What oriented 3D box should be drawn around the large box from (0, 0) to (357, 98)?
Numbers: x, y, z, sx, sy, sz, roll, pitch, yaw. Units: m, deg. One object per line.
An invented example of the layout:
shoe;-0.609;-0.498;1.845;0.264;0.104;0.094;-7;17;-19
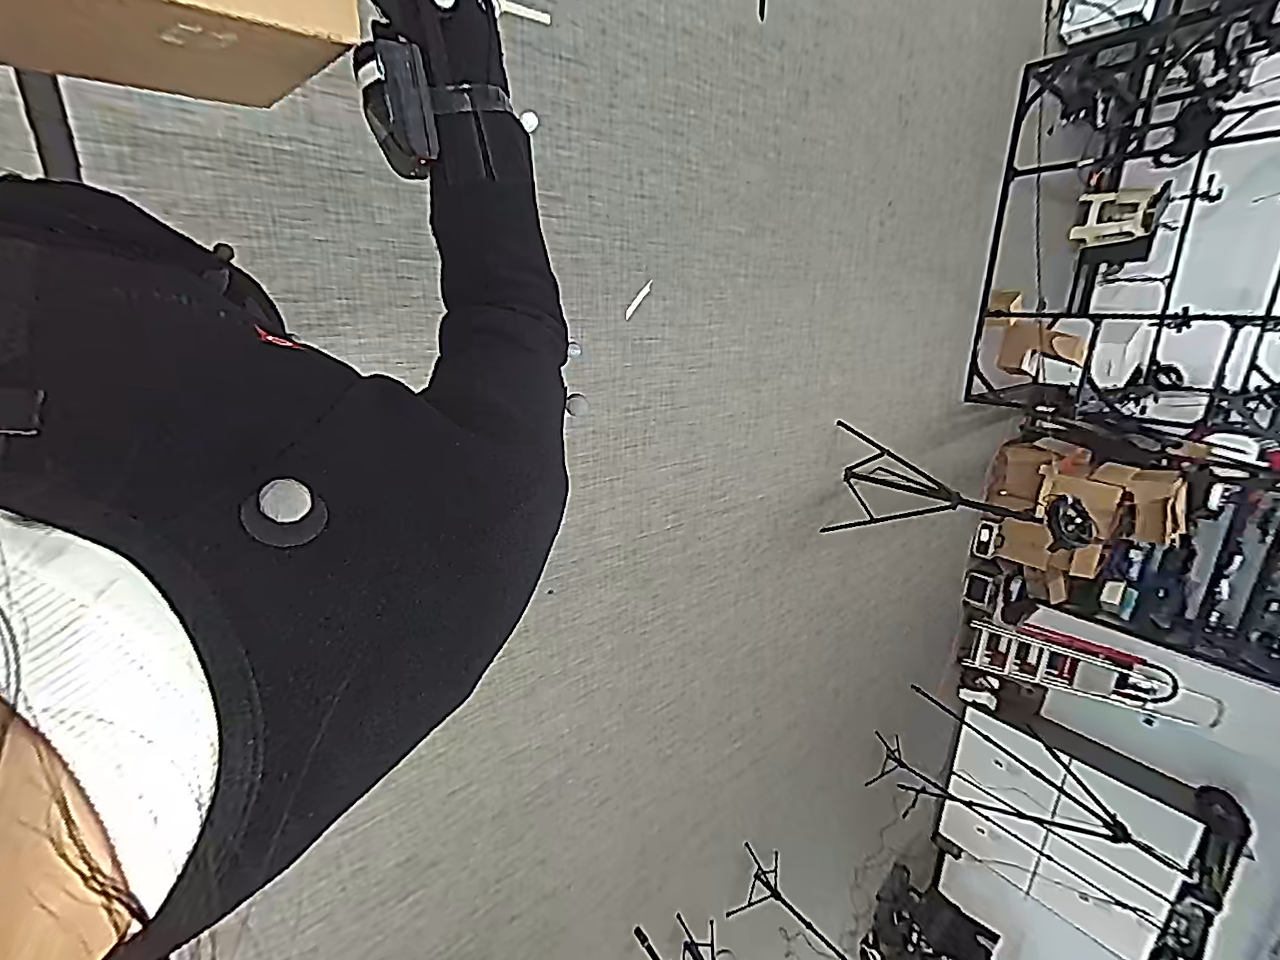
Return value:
large box;-0.404;-0.400;0.233;0.408;0.320;0.320;-17;123;-38
